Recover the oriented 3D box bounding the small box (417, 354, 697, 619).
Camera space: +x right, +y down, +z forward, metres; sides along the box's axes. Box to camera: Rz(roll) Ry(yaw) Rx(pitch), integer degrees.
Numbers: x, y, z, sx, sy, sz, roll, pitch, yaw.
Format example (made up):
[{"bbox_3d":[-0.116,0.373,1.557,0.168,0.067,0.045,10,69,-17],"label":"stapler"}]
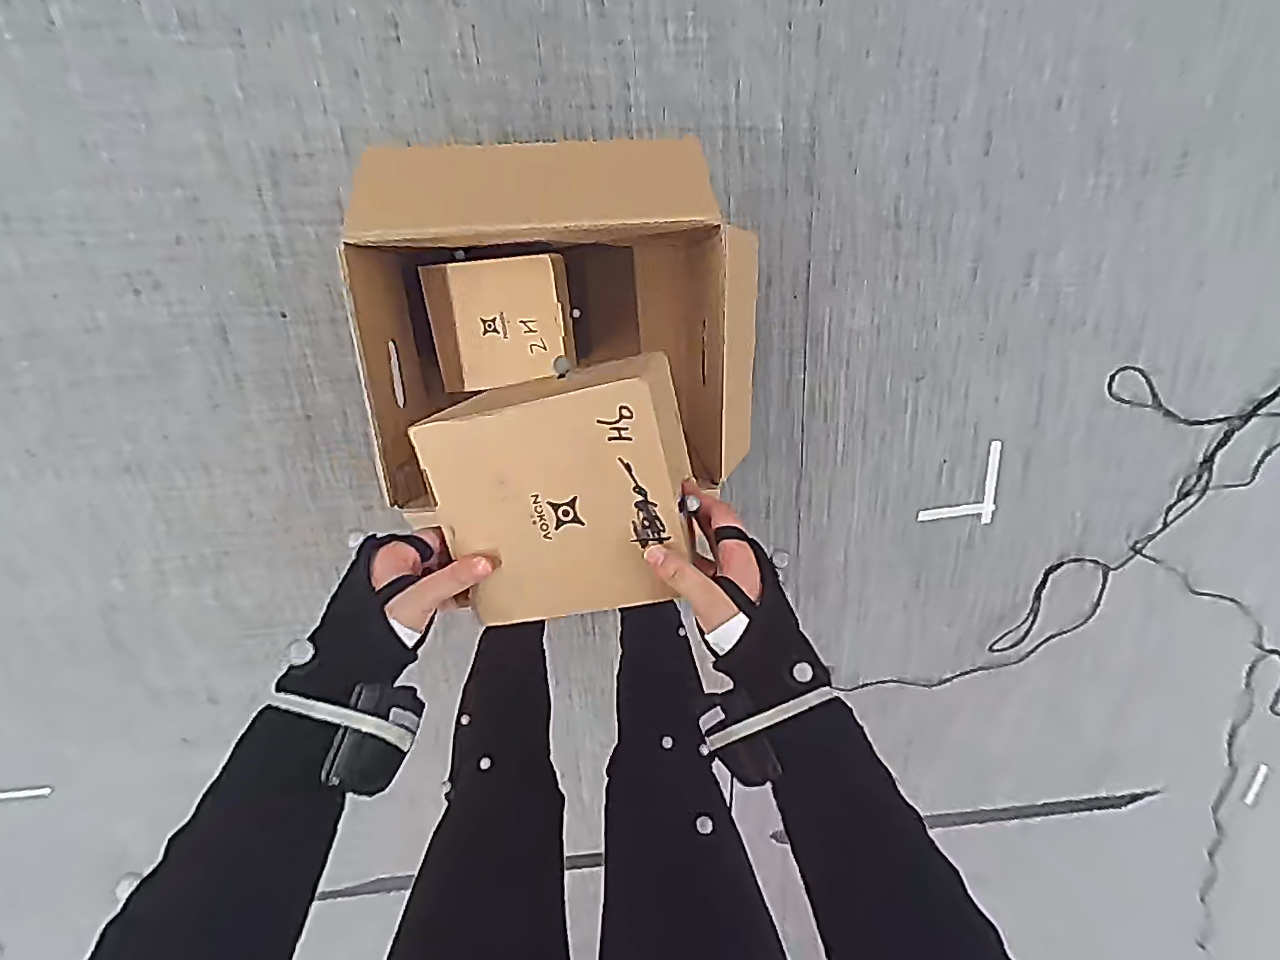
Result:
[{"bbox_3d":[-0.051,-0.004,0.469,0.179,0.176,0.168,-10,109,11],"label":"small box"}]
